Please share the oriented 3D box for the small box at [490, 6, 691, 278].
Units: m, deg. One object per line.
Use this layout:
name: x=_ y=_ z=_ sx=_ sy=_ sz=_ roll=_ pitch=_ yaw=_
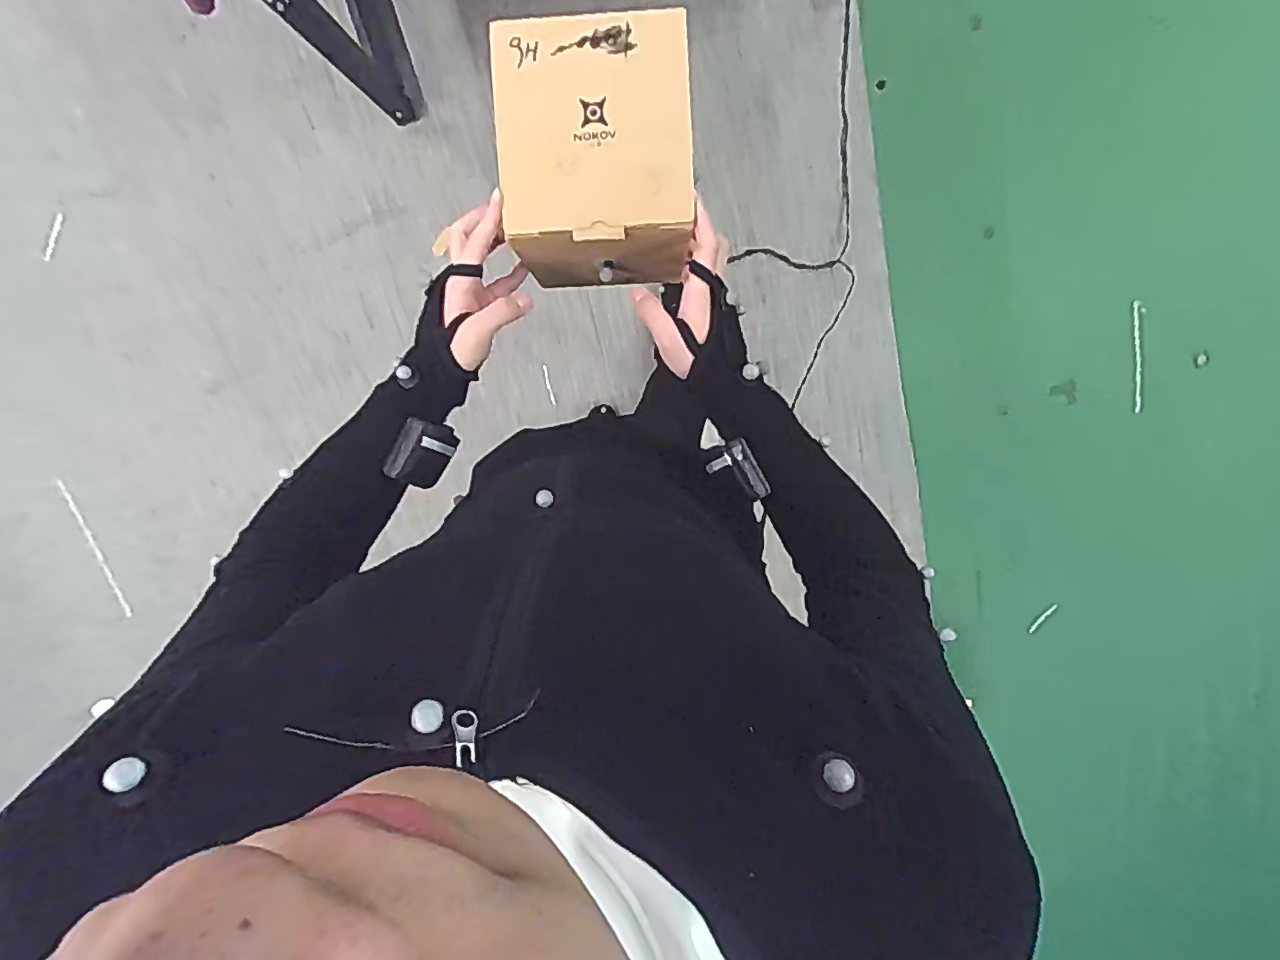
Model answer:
small box: x=-0.038 y=-0.306 z=0.531 sx=0.168 sy=0.176 sz=0.179 roll=-3 pitch=95 yaw=1
